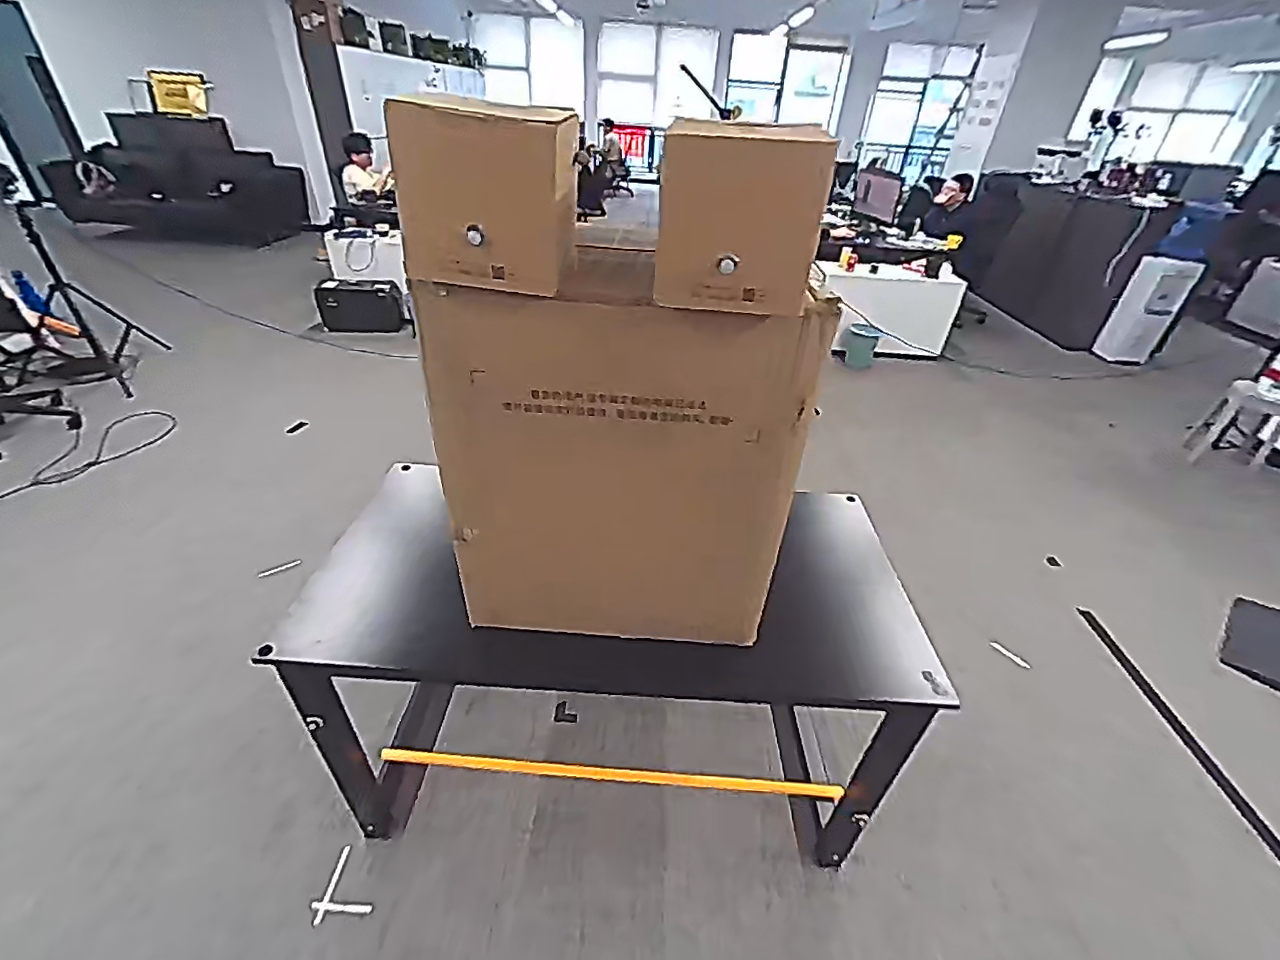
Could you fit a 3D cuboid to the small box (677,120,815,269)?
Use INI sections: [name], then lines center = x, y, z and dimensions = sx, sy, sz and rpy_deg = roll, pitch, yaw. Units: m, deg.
[small box]
center = 0.141, -0.415, 0.784
dimensions = 0.168, 0.176, 0.179
rpy_deg = 3, 33, 4
